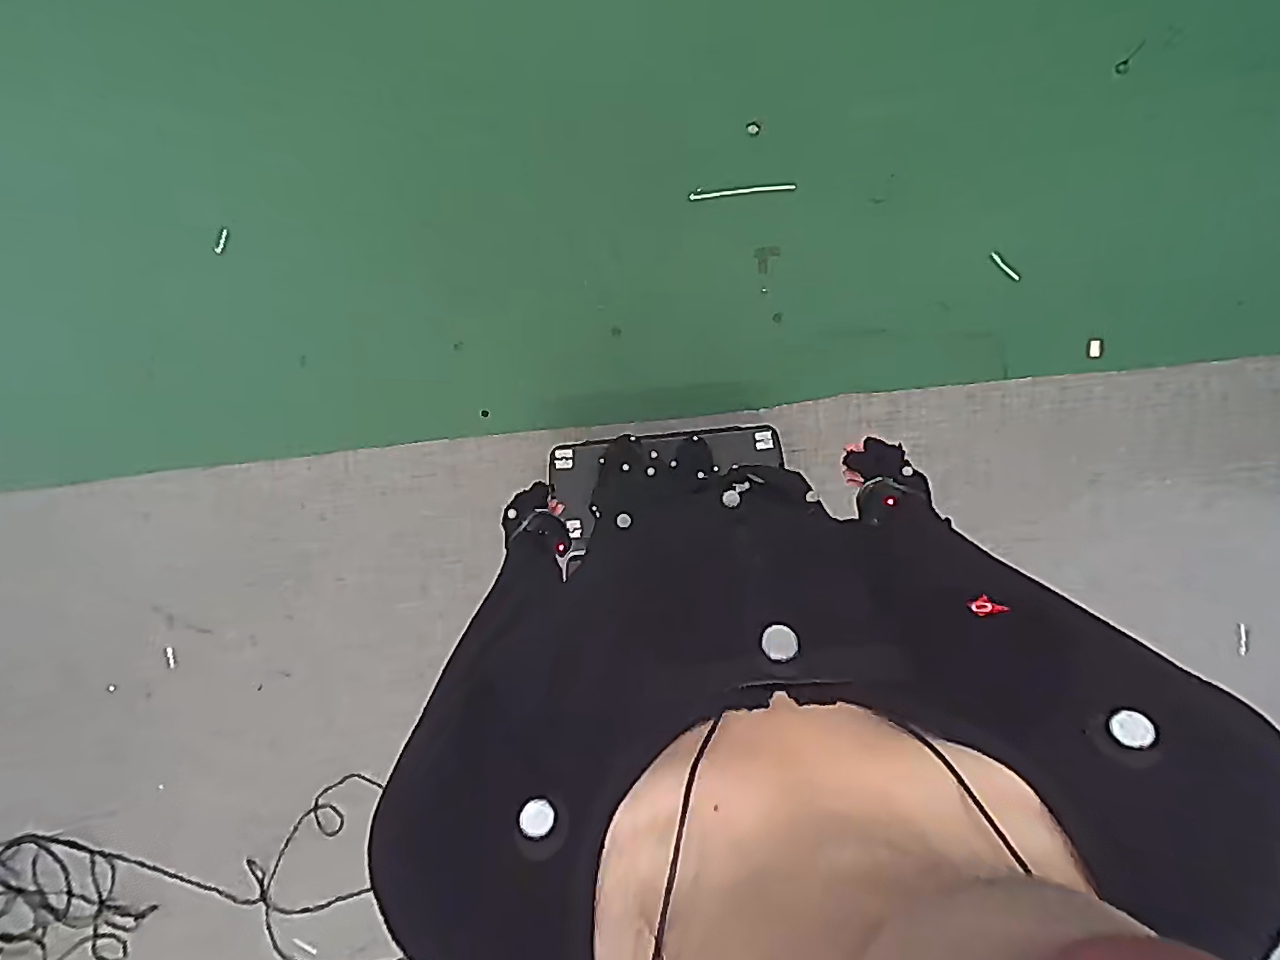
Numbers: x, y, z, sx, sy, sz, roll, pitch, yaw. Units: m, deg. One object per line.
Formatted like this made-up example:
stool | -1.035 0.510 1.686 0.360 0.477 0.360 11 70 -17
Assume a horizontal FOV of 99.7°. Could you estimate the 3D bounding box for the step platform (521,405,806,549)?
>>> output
step platform | 0.058 -0.013 1.384 0.684 0.204 0.286 -6 95 2
